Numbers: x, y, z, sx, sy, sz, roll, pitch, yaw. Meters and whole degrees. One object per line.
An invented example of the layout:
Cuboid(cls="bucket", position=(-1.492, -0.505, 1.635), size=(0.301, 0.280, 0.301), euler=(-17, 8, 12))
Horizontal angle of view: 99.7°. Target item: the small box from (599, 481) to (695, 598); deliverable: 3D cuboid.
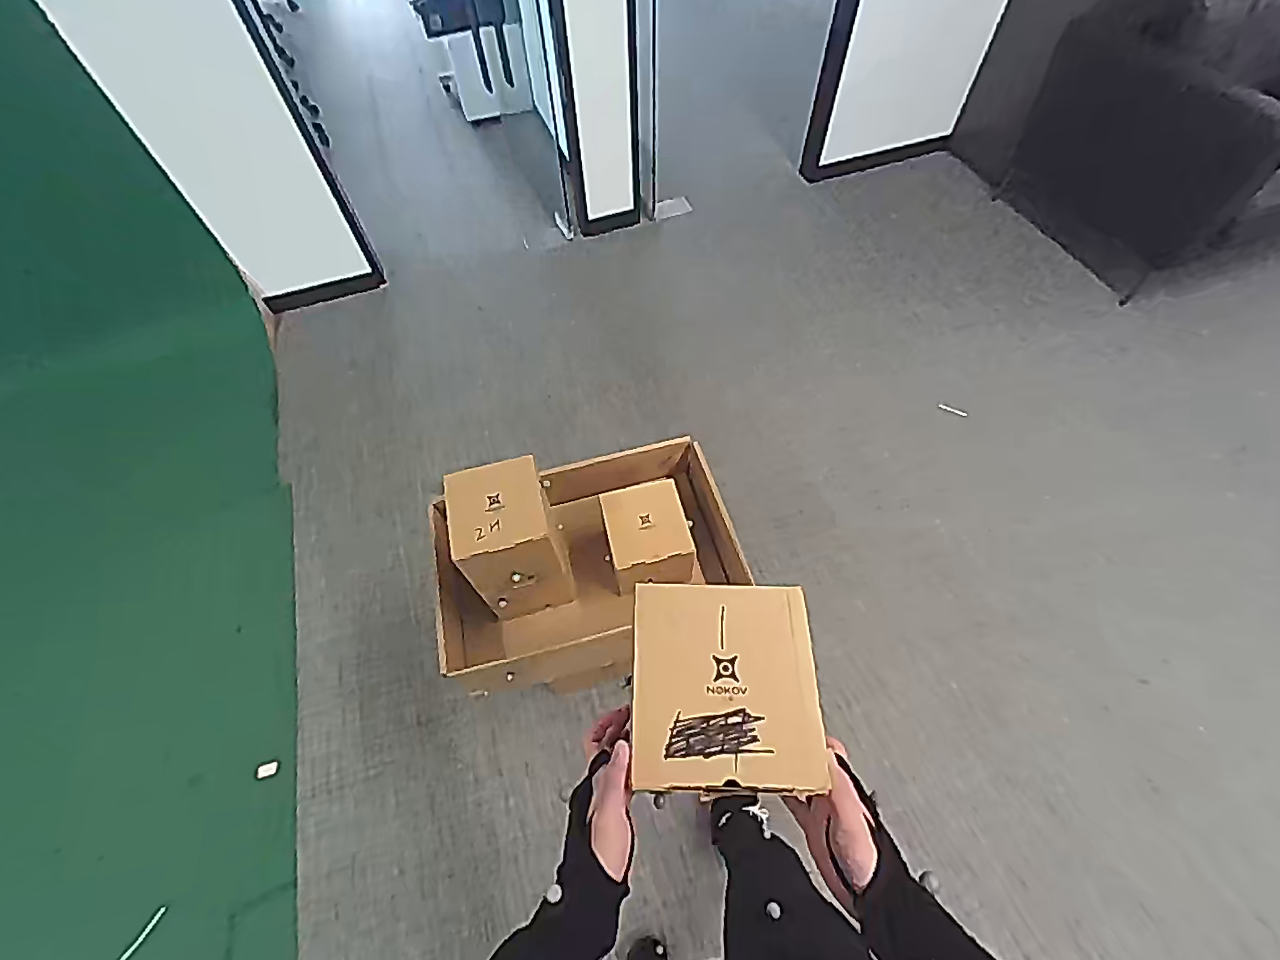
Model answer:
Cuboid(cls="small box", position=(0.011, 0.131, 1.163), size=(0.168, 0.176, 0.179), euler=(-12, 59, -6))

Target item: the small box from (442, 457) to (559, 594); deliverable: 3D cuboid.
Cuboid(cls="small box", position=(-0.255, 0.088, 1.002), size=(0.168, 0.176, 0.179), euler=(-14, 59, -7))

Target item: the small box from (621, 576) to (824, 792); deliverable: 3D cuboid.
Cuboid(cls="small box", position=(0.068, 0.210, 0.542), size=(0.168, 0.176, 0.179), euler=(2, 58, -1))
